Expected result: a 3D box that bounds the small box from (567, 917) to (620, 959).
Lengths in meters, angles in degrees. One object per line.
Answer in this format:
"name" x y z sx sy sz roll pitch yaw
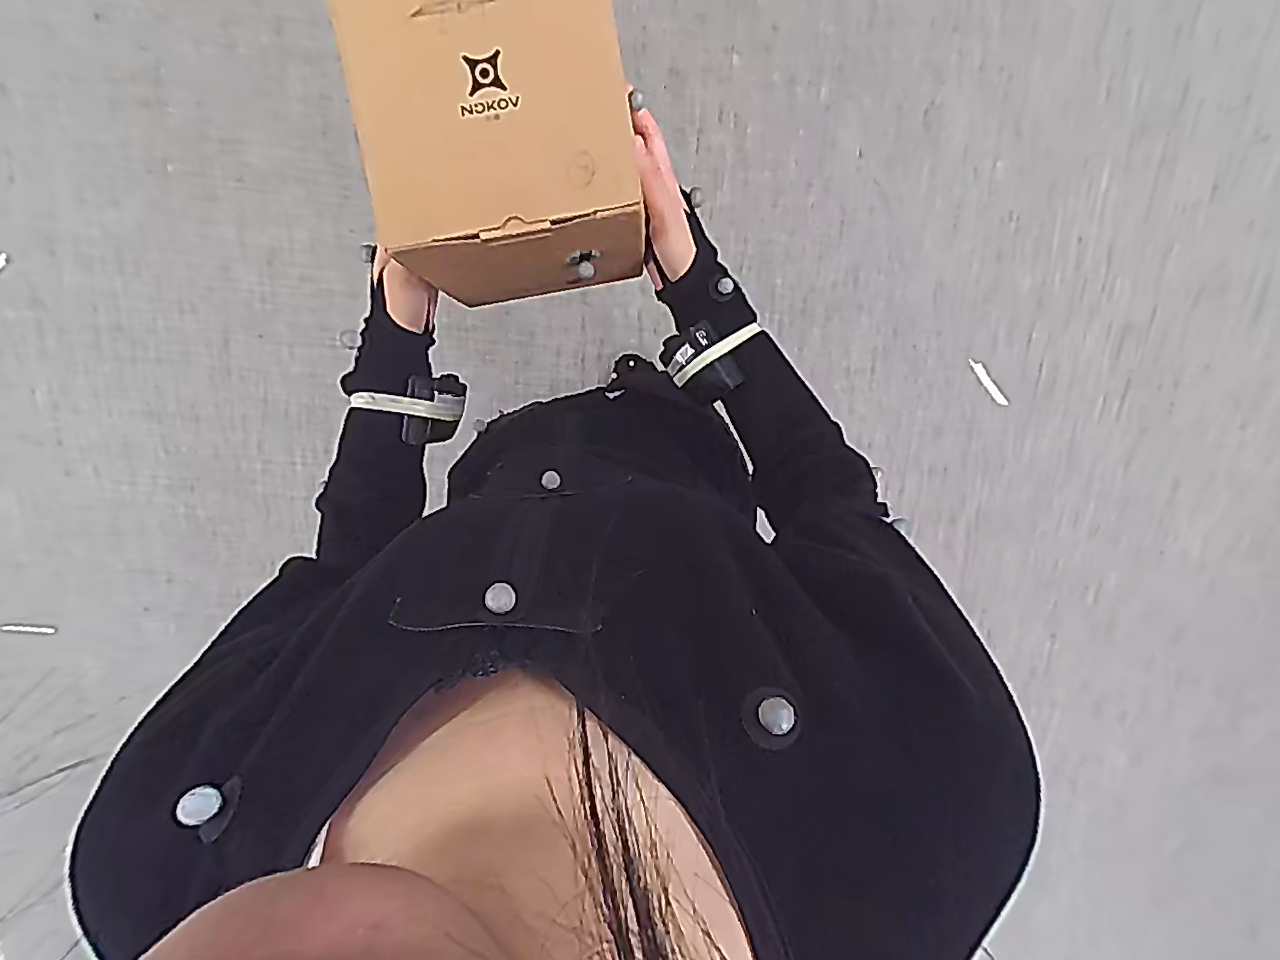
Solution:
"small box" -0.156 1.598 1.784 0.168 0.176 0.179 4 104 -1
